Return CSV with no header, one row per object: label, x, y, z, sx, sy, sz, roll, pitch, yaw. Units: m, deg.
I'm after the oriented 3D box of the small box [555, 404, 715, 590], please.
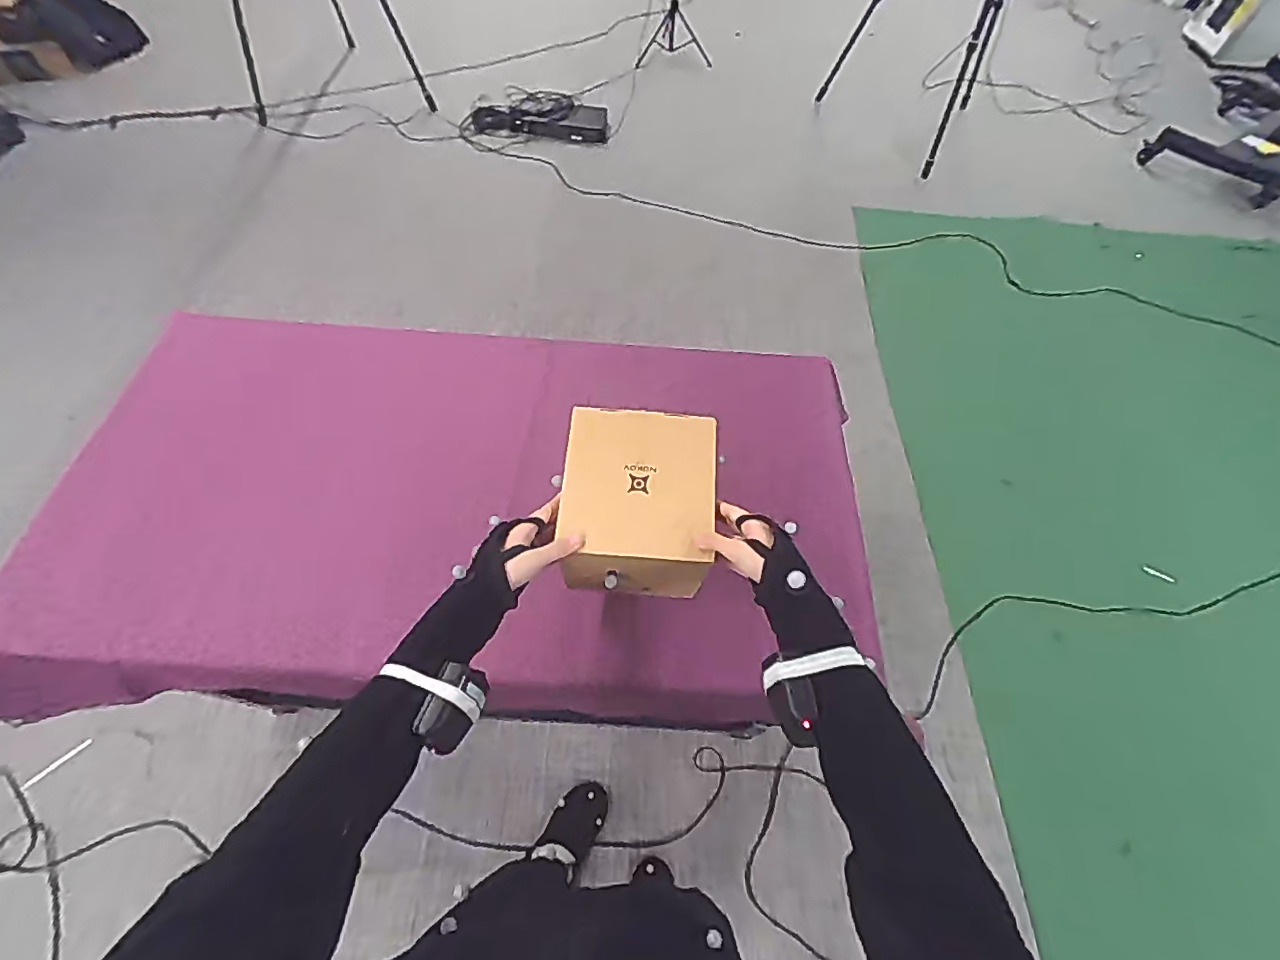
small box,-0.003,0.029,0.663,0.168,0.176,0.179,4,64,-1
